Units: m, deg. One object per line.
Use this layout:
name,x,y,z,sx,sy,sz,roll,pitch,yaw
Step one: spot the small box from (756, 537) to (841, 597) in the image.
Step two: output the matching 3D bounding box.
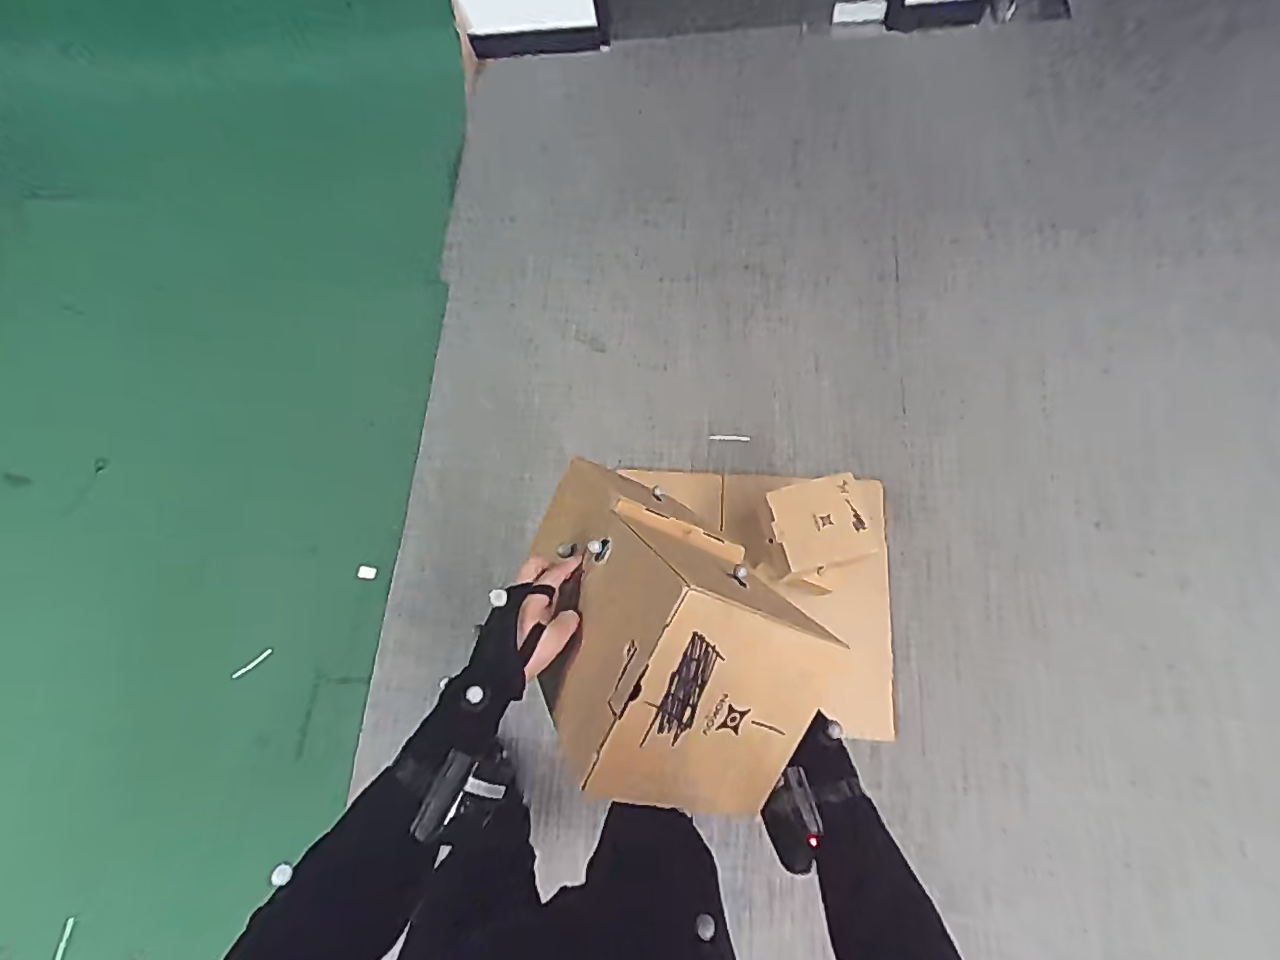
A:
small box,0.378,0.158,1.260,0.168,0.176,0.179,22,77,12

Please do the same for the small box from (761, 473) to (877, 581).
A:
small box,0.352,0.103,1.108,0.179,0.176,0.168,-14,72,3

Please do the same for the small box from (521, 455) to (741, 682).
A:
small box,-0.023,0.093,0.618,0.168,0.176,0.179,24,95,-27
